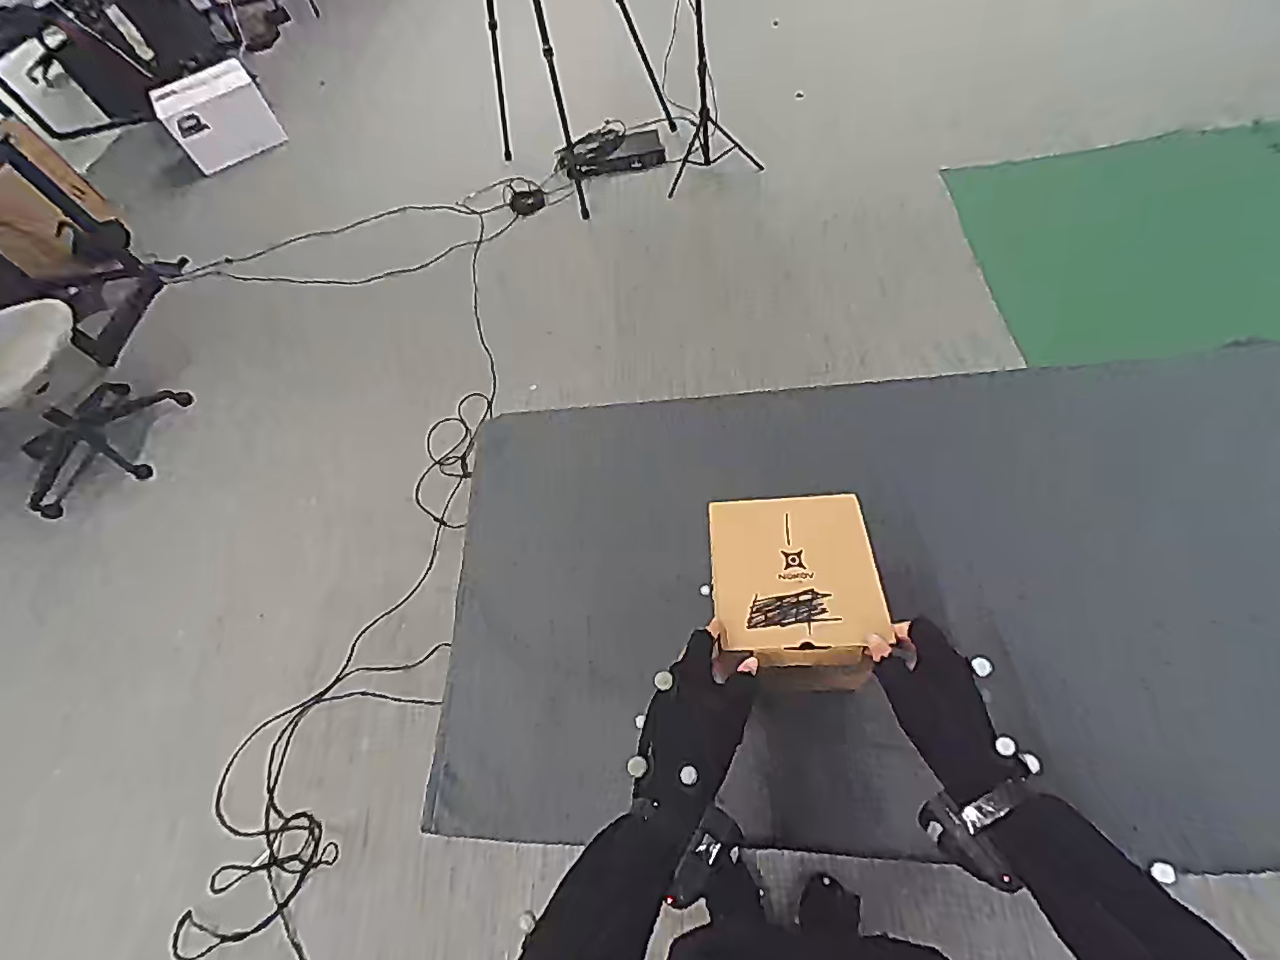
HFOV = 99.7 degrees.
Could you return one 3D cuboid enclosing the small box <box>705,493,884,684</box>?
[{"bbox_3d":[0.167,0.136,0.634,0.168,0.176,0.179,-4,57,7],"label":"small box"}]
